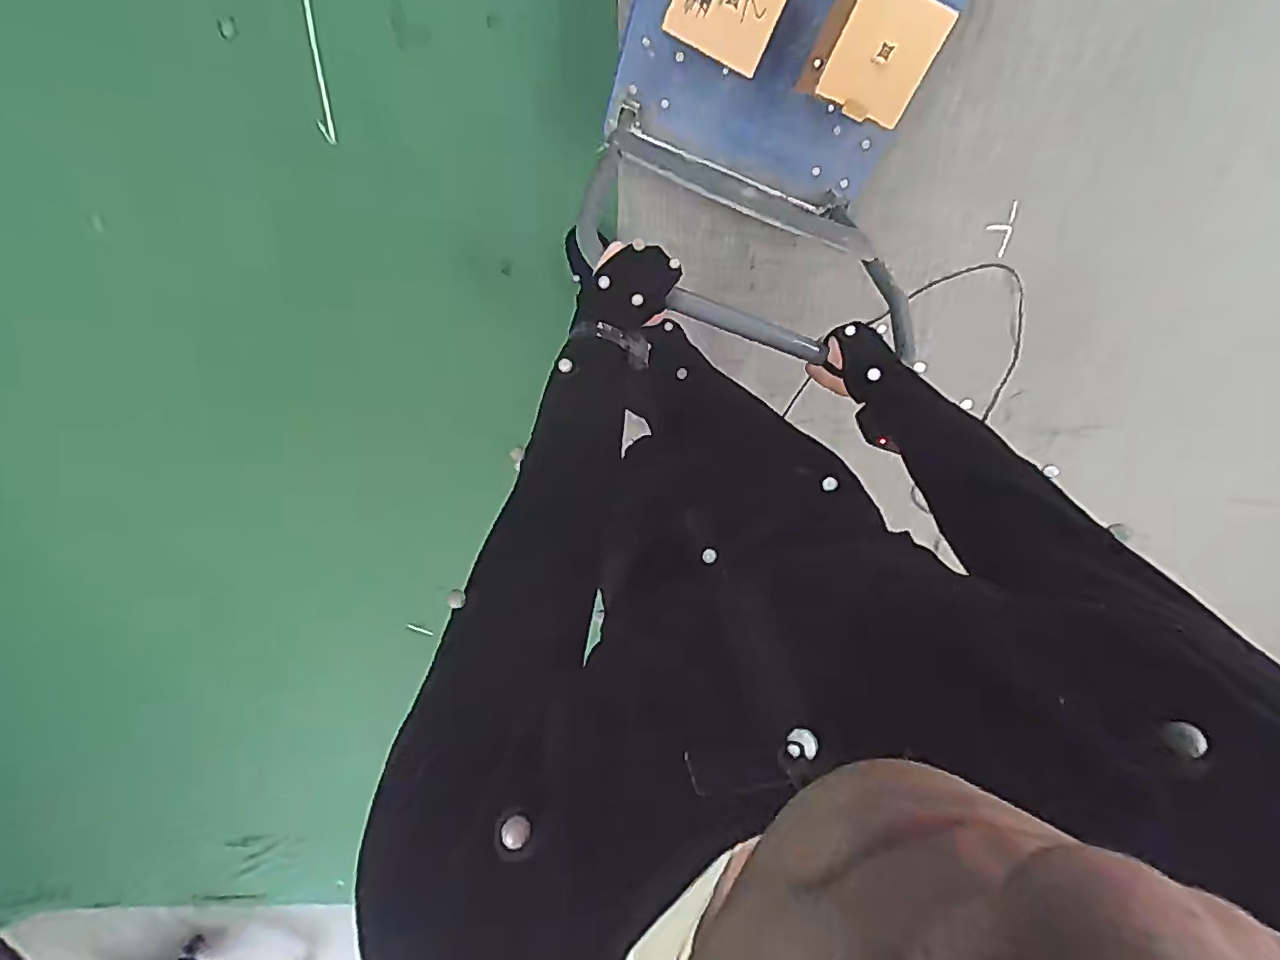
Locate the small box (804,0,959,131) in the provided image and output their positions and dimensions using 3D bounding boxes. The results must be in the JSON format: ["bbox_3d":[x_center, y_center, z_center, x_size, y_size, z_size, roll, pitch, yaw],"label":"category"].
[{"bbox_3d":[0.417,-0.769,0.973,0.168,0.176,0.179,18,129,-11],"label":"small box"}]
